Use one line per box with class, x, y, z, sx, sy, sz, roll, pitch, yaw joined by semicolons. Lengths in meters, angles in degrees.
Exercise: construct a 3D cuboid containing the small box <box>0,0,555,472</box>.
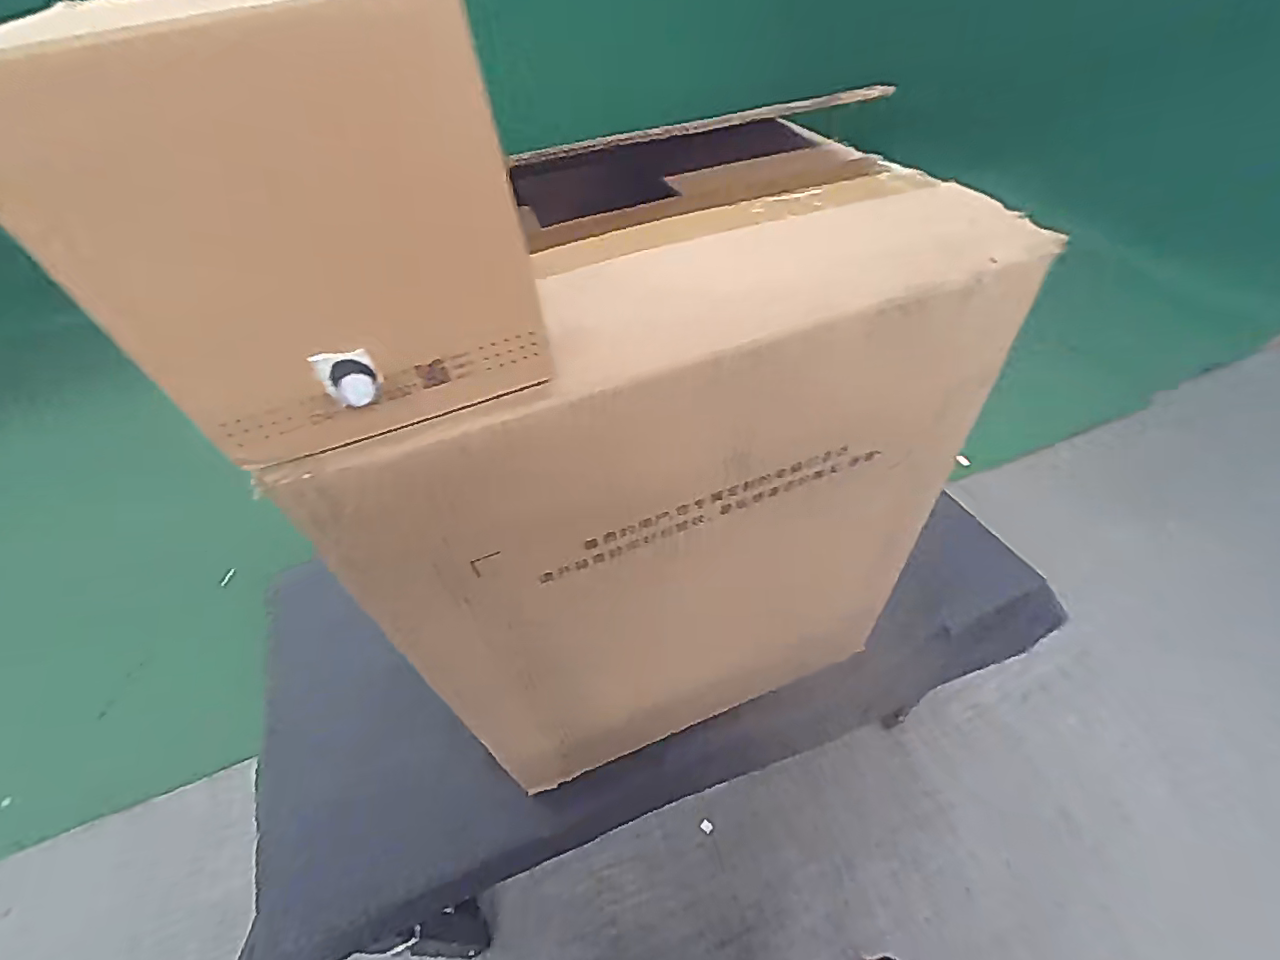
small box;-0.158;-0.136;0.281;0.168;0.176;0.179;-22;50;-12
